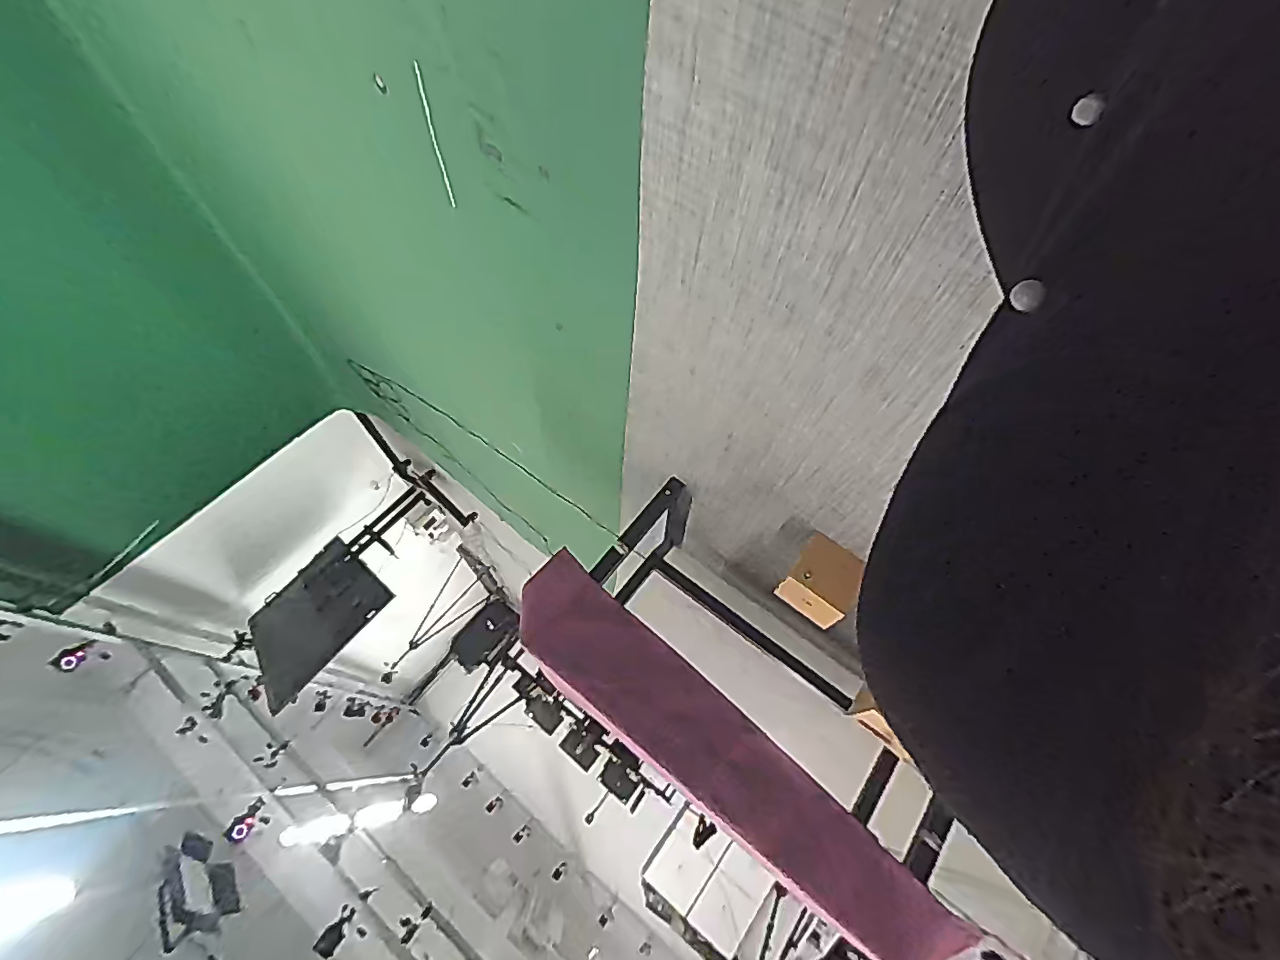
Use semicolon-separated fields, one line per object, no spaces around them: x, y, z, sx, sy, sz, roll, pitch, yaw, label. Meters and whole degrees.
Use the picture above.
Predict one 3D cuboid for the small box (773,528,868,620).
0.518;0.268;1.550;0.179;0.176;0.168;36;157;16;small box
